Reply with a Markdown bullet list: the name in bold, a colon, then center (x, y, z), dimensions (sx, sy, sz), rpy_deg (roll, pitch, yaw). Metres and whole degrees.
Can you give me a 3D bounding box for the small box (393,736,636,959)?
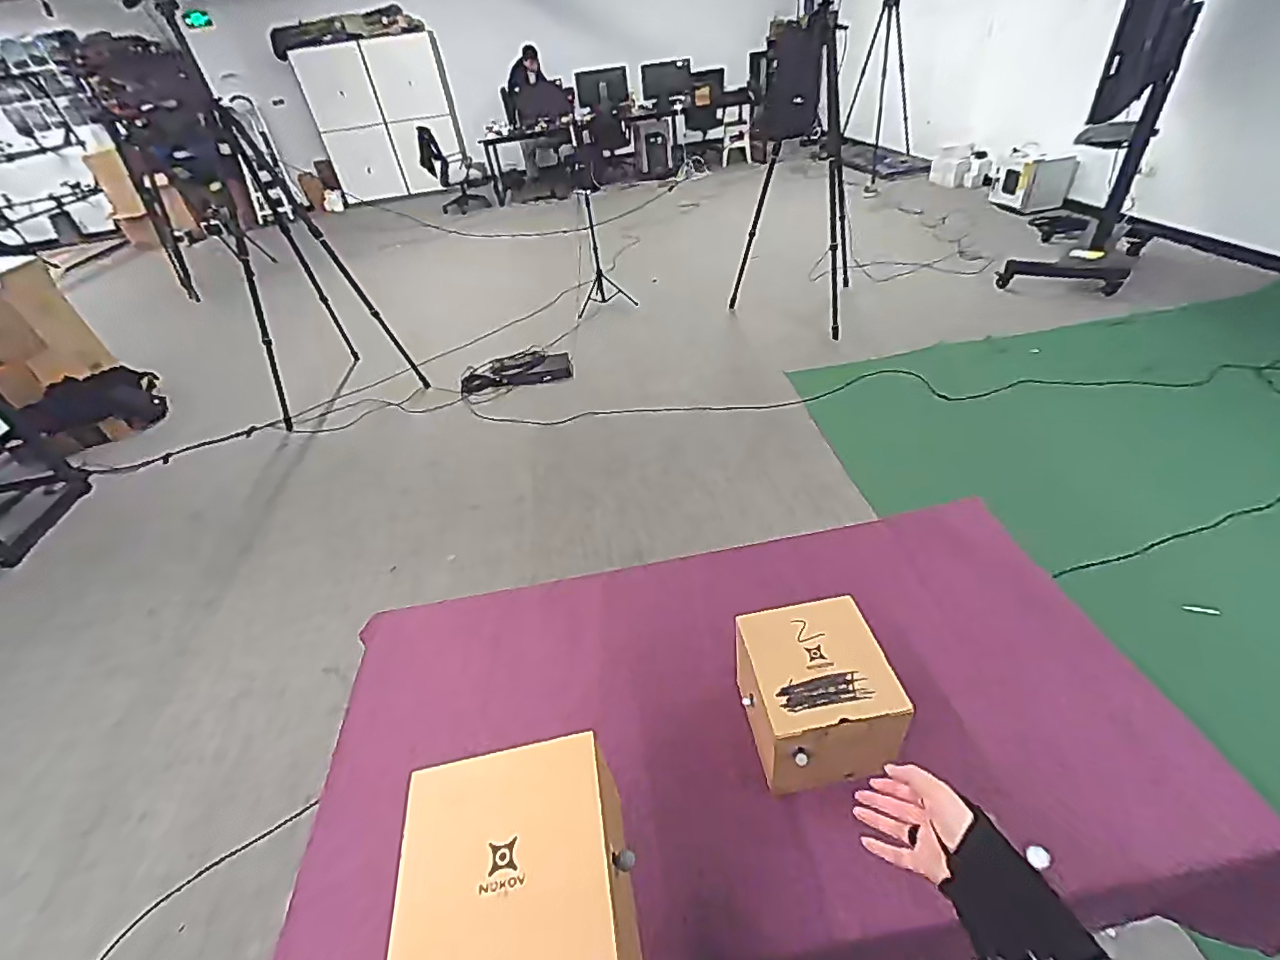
- **small box**: center (-0.101, 0.367, 0.488), dimensions (0.168, 0.176, 0.179), rpy_deg (-12, 43, -4)
